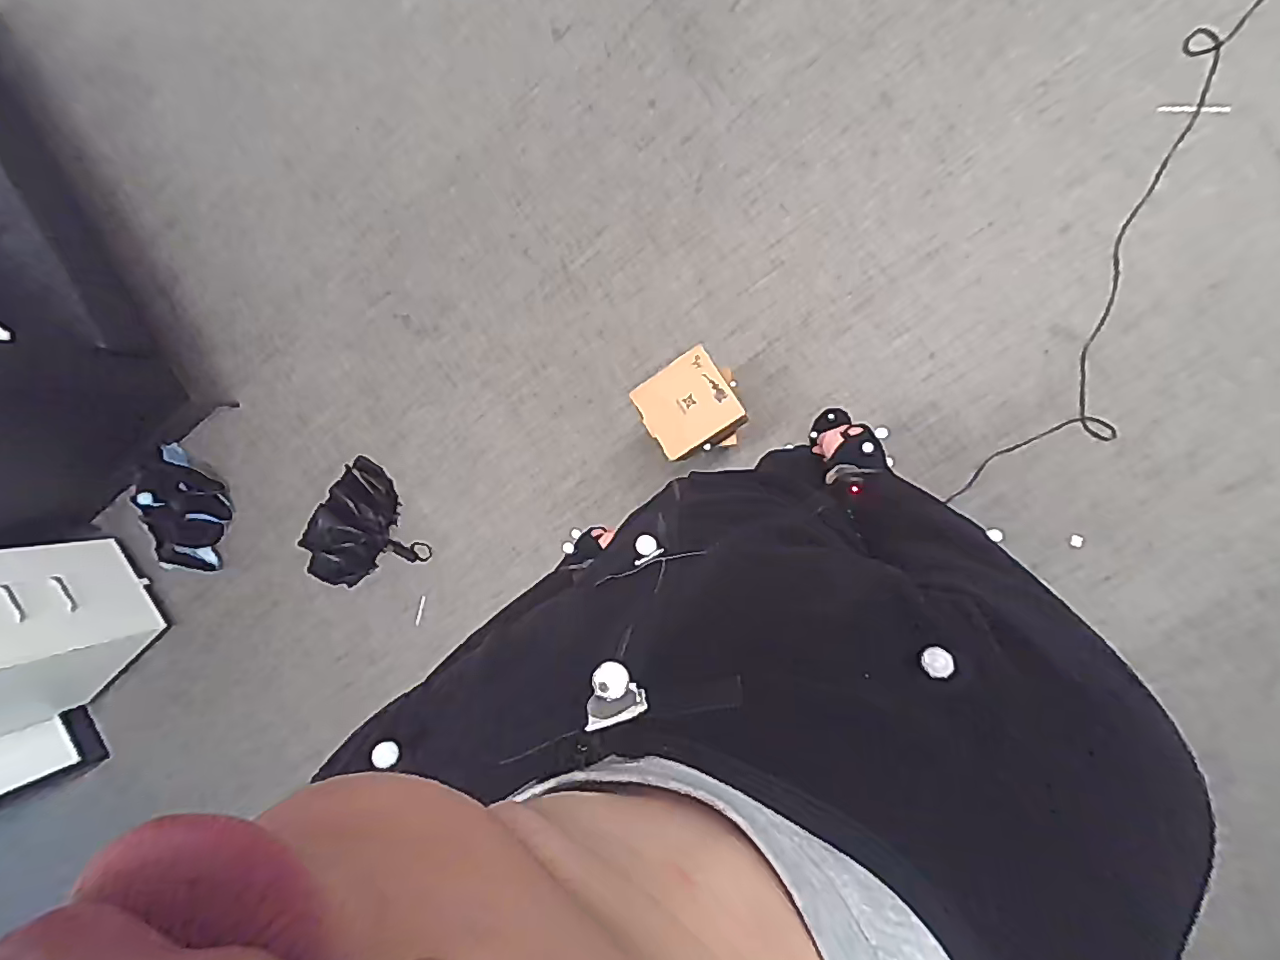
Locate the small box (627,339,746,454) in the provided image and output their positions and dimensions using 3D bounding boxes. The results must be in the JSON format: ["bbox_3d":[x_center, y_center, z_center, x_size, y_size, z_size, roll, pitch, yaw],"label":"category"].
[{"bbox_3d":[0.104,-0.165,1.130,0.179,0.176,0.168,-32,85,15],"label":"small box"}]

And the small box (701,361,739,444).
[{"bbox_3d":[0.143,-0.175,1.289,0.168,0.176,0.179,-4,93,15],"label":"small box"}]
